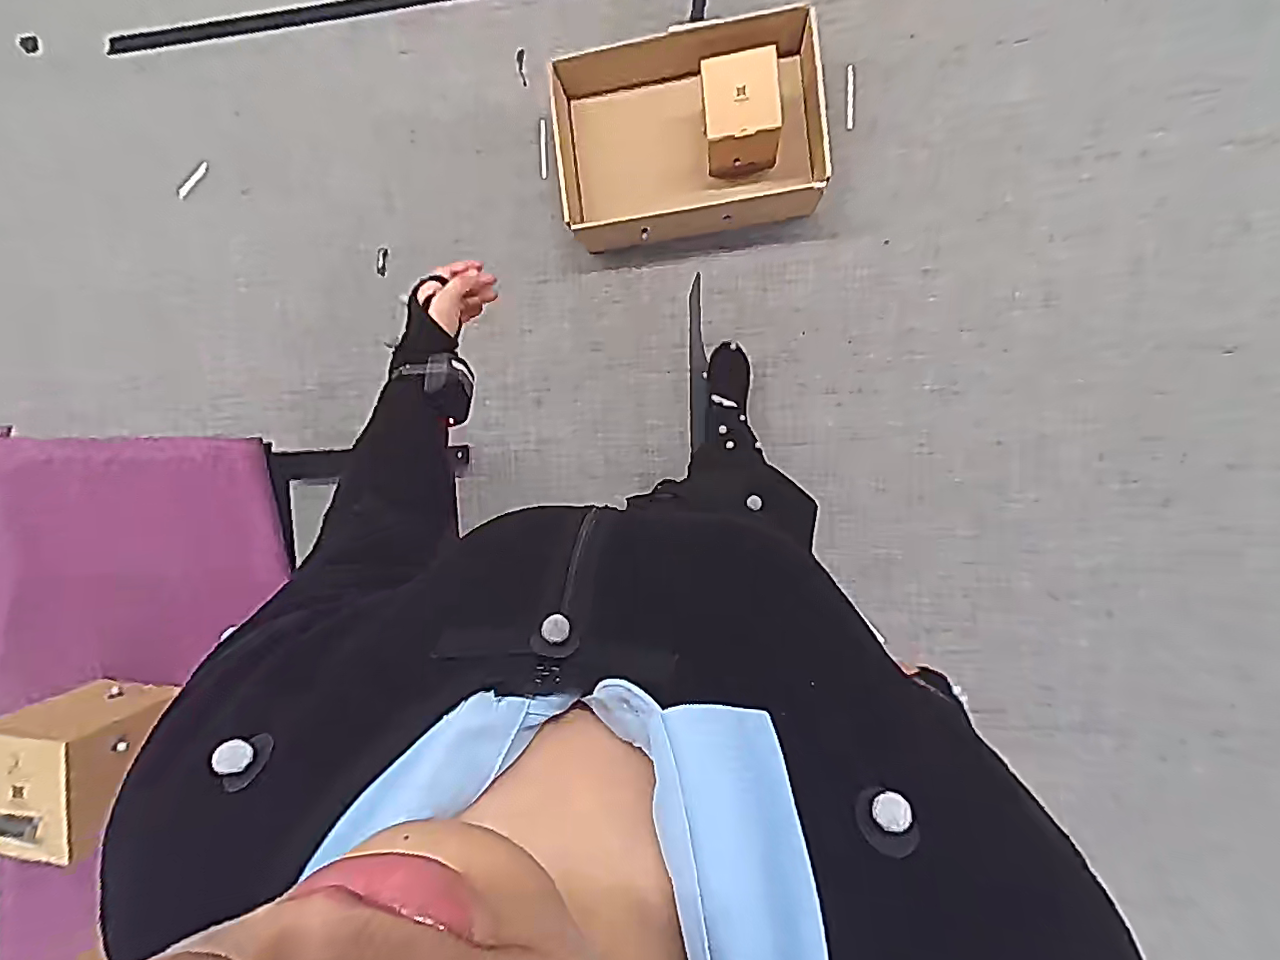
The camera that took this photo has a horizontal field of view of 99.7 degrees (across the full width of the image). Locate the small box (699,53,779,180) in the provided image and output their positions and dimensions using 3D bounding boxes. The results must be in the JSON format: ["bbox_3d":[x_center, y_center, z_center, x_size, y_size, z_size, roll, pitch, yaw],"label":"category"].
[{"bbox_3d":[0.229,-0.849,1.279,0.168,0.176,0.179,-6,93,8],"label":"small box"}]

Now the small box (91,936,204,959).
[{"bbox_3d":[-0.816,0.855,0.835,0.179,0.176,0.168,-1,93,8],"label":"small box"}]
